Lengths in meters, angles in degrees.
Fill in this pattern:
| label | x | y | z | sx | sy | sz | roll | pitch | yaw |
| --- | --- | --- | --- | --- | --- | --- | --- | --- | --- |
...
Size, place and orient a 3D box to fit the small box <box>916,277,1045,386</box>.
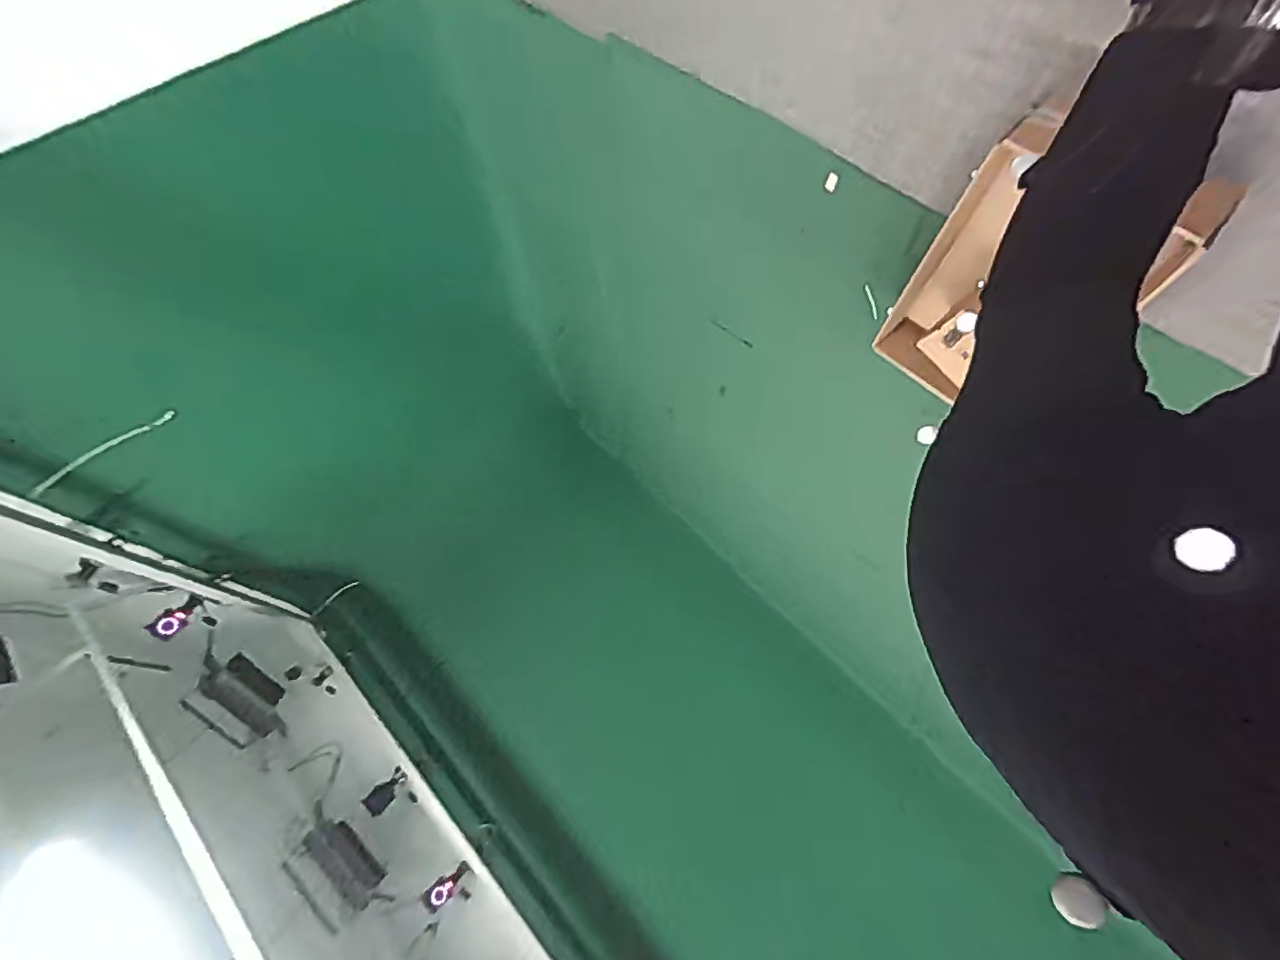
| label | x | y | z | sx | sy | sz | roll | pitch | yaw |
| --- | --- | --- | --- | --- | --- | --- | --- | --- | --- |
| small box | 0.842 | -0.373 | 1.342 | 0.179 | 0.176 | 0.168 | 48 | 161 | 3 |
